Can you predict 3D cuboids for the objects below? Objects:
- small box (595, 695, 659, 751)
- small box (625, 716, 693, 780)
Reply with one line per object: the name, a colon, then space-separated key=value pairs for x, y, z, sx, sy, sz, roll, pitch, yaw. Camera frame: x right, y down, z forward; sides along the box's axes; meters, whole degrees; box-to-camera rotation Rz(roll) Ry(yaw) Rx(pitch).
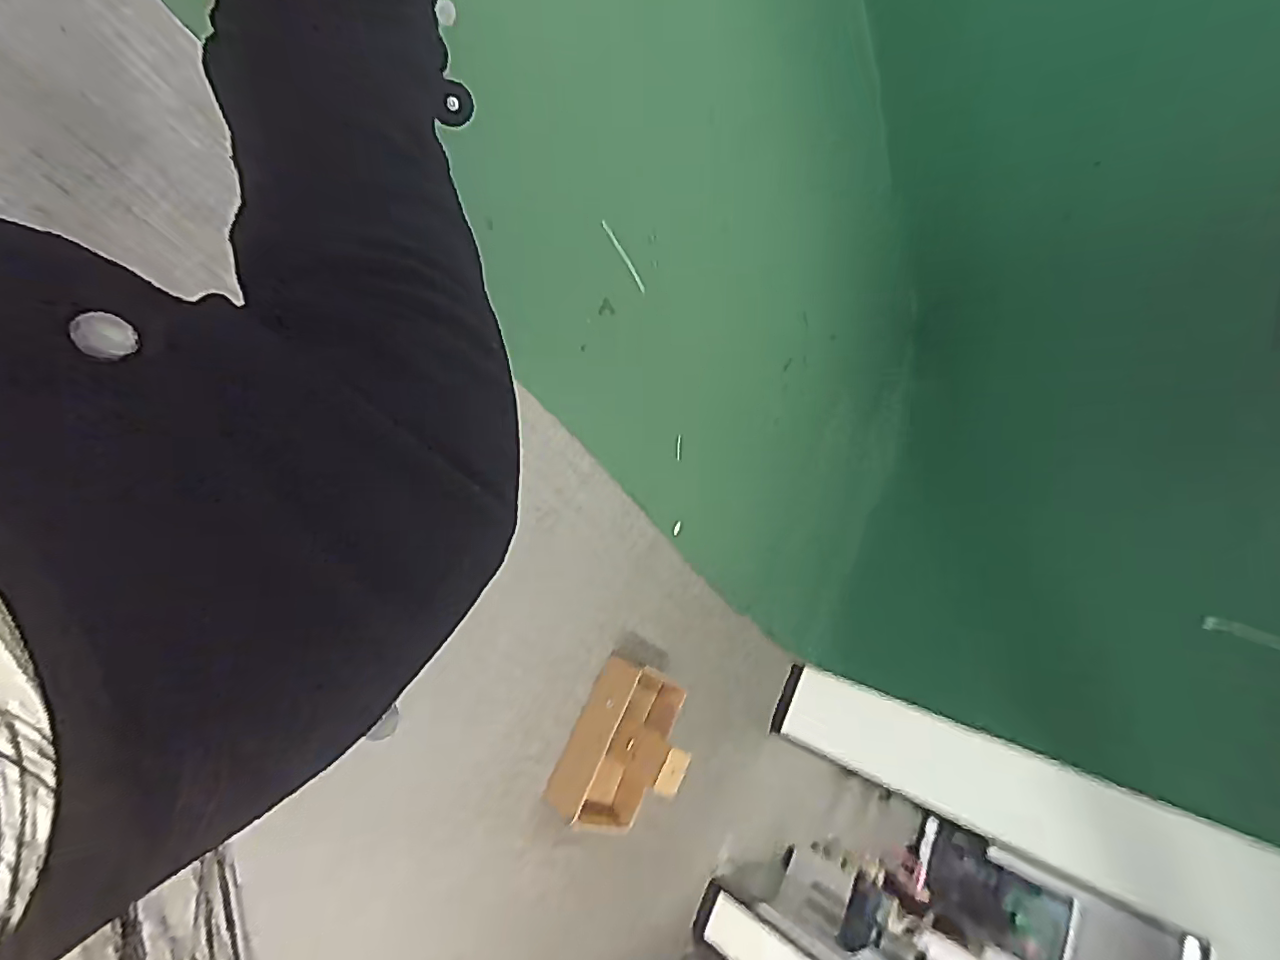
small box: x=-0.056 y=1.023 z=2.255 sx=0.179 sy=0.176 sz=0.168 roll=45 pitch=67 yaw=-44
small box: x=0.072 y=1.054 z=2.134 sx=0.179 sy=0.176 sz=0.168 roll=41 pitch=70 yaw=-45
